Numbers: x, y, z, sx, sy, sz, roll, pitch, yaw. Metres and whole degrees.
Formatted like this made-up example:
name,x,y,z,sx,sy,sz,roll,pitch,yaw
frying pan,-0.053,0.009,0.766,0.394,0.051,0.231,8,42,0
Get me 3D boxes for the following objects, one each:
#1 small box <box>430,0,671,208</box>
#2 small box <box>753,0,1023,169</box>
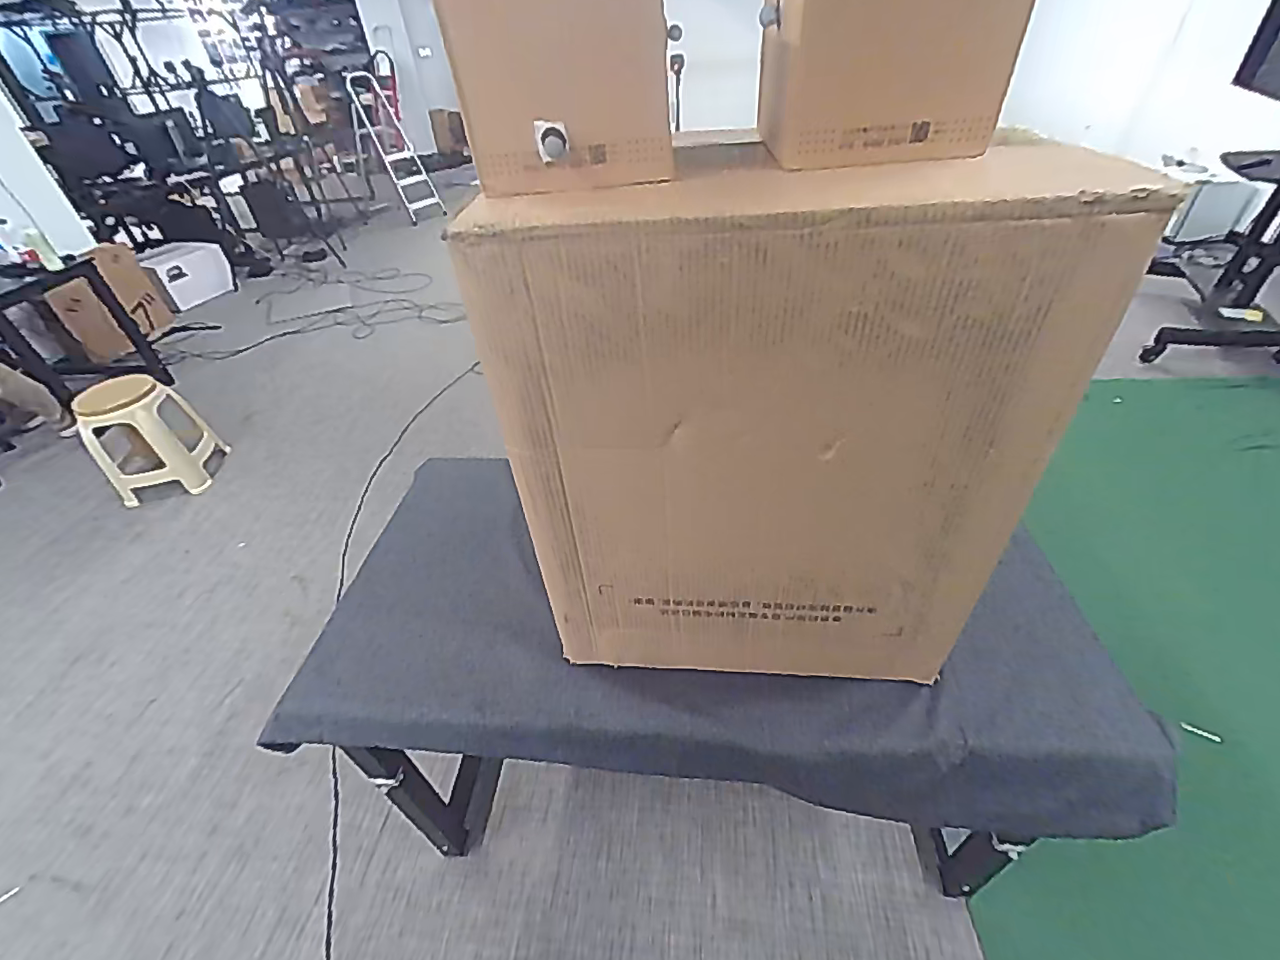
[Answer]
name,x,y,z,sx,sy,sz,roll,pitch,yaw
small box,-0.063,-0.355,0.470,0.168,0.176,0.179,-5,43,6
small box,0.190,-0.375,0.455,0.168,0.176,0.179,-3,42,4
